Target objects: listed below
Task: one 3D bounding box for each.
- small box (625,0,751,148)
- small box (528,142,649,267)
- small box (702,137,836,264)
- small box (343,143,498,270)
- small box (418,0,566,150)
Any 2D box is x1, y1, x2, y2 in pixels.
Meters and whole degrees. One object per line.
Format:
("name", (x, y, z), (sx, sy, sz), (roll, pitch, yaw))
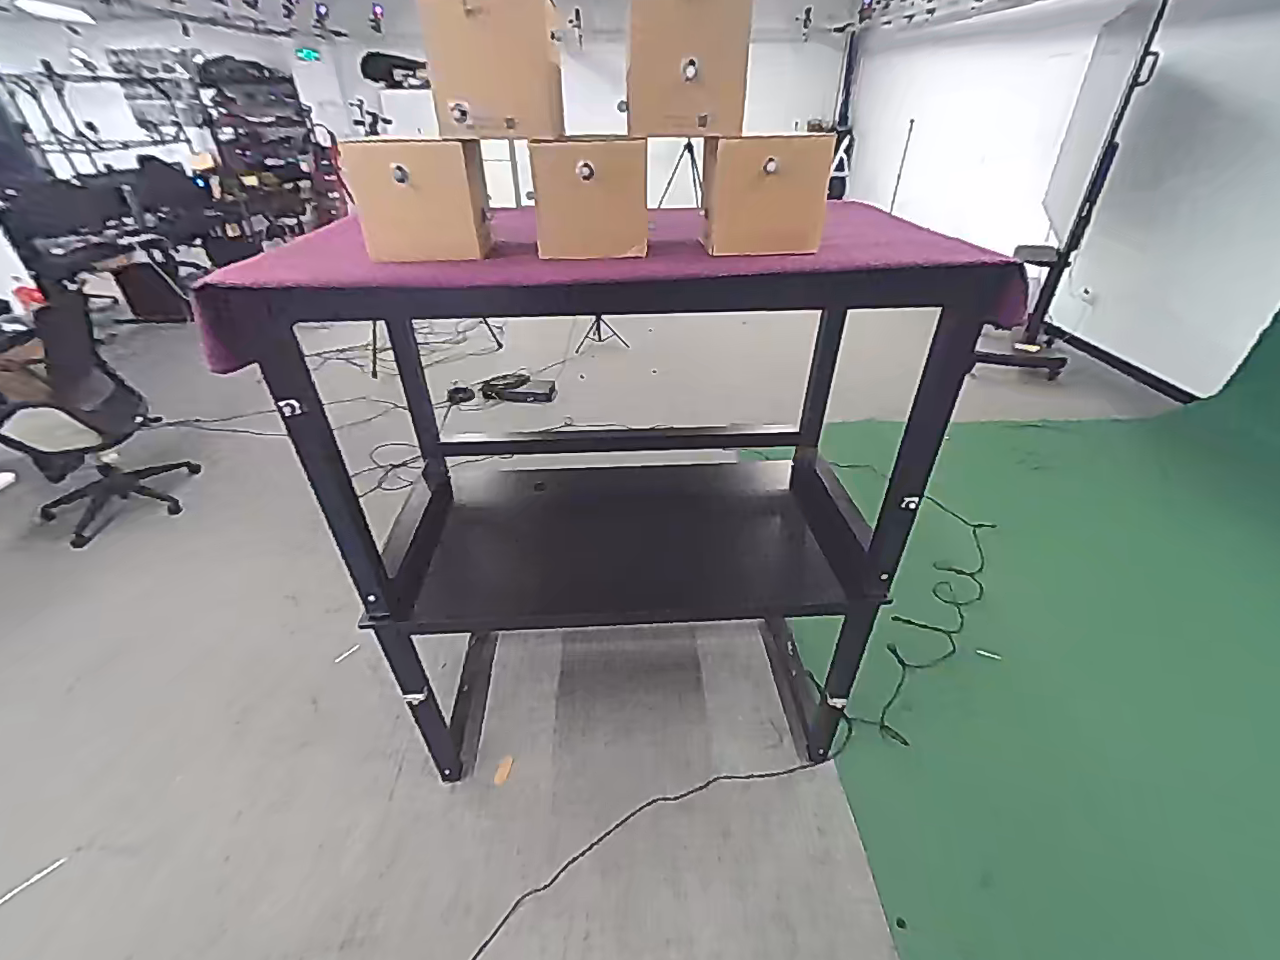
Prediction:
("small box", (0.064, -0.602, 0.813), (0.168, 0.176, 0.179), (-2, 35, -2))
("small box", (-0.077, -0.454, 0.890), (0.179, 0.176, 0.168), (-2, 34, -2))
("small box", (0.201, -0.466, 0.901), (0.179, 0.176, 0.168), (-3, 34, -1))
("small box", (-0.345, -0.450, 0.889), (0.179, 0.176, 0.168), (-3, 35, -3))
("small box", (-0.204, -0.594, 0.806), (0.168, 0.176, 0.179), (-1, 34, -1))
